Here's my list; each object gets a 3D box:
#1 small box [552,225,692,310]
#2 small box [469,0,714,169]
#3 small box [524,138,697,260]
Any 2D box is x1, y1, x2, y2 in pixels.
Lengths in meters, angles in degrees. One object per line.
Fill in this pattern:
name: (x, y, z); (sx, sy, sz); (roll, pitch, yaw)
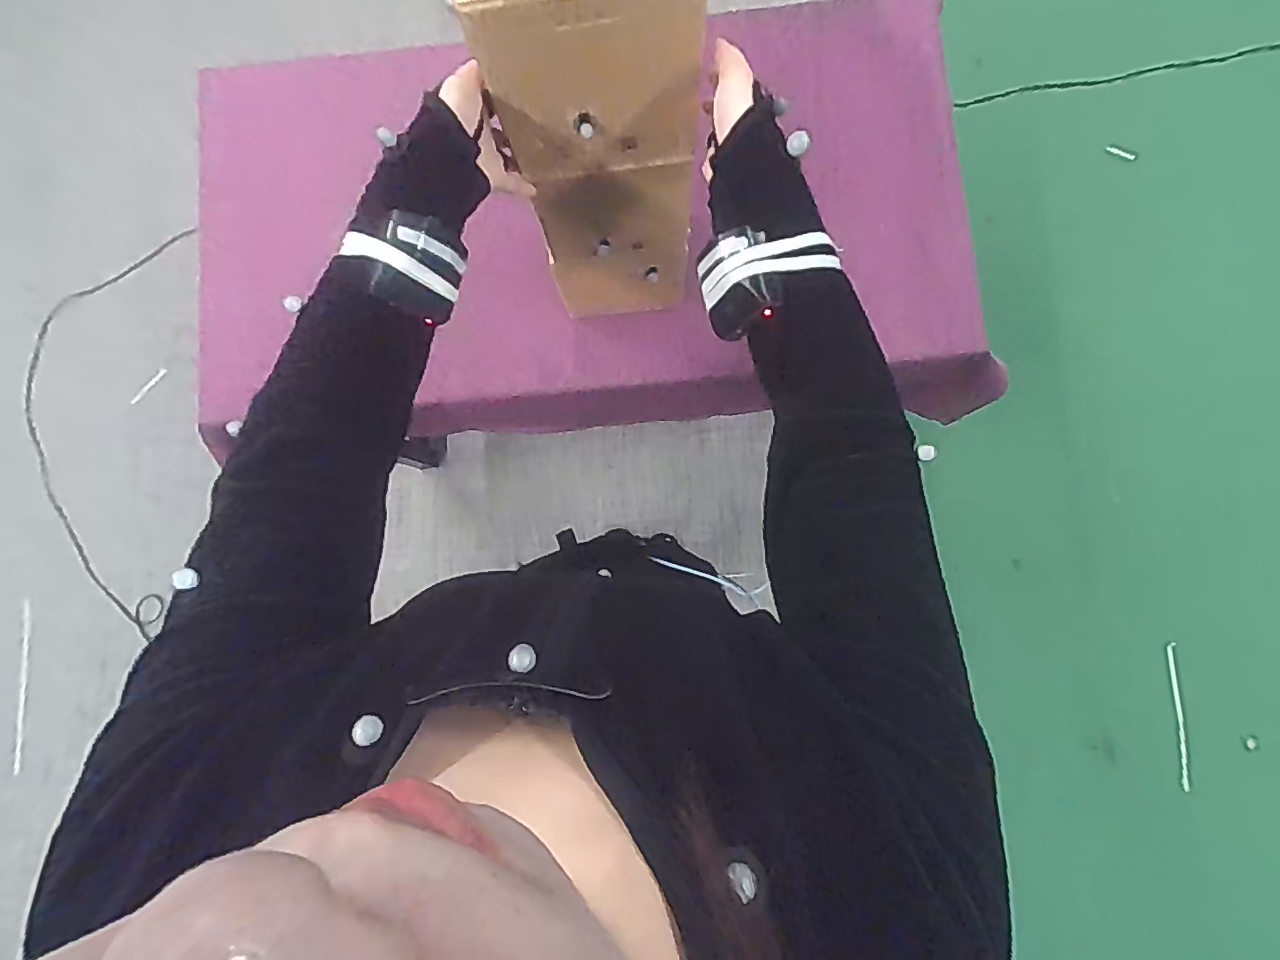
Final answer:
small box: (-0.025, -0.353, 0.759); (0.179, 0.176, 0.168); (-5, 84, 2)
small box: (-0.040, -0.393, 0.435); (0.168, 0.176, 0.179); (-8, 85, 2)
small box: (-0.031, -0.371, 0.596); (0.168, 0.176, 0.179); (-5, 85, 2)
